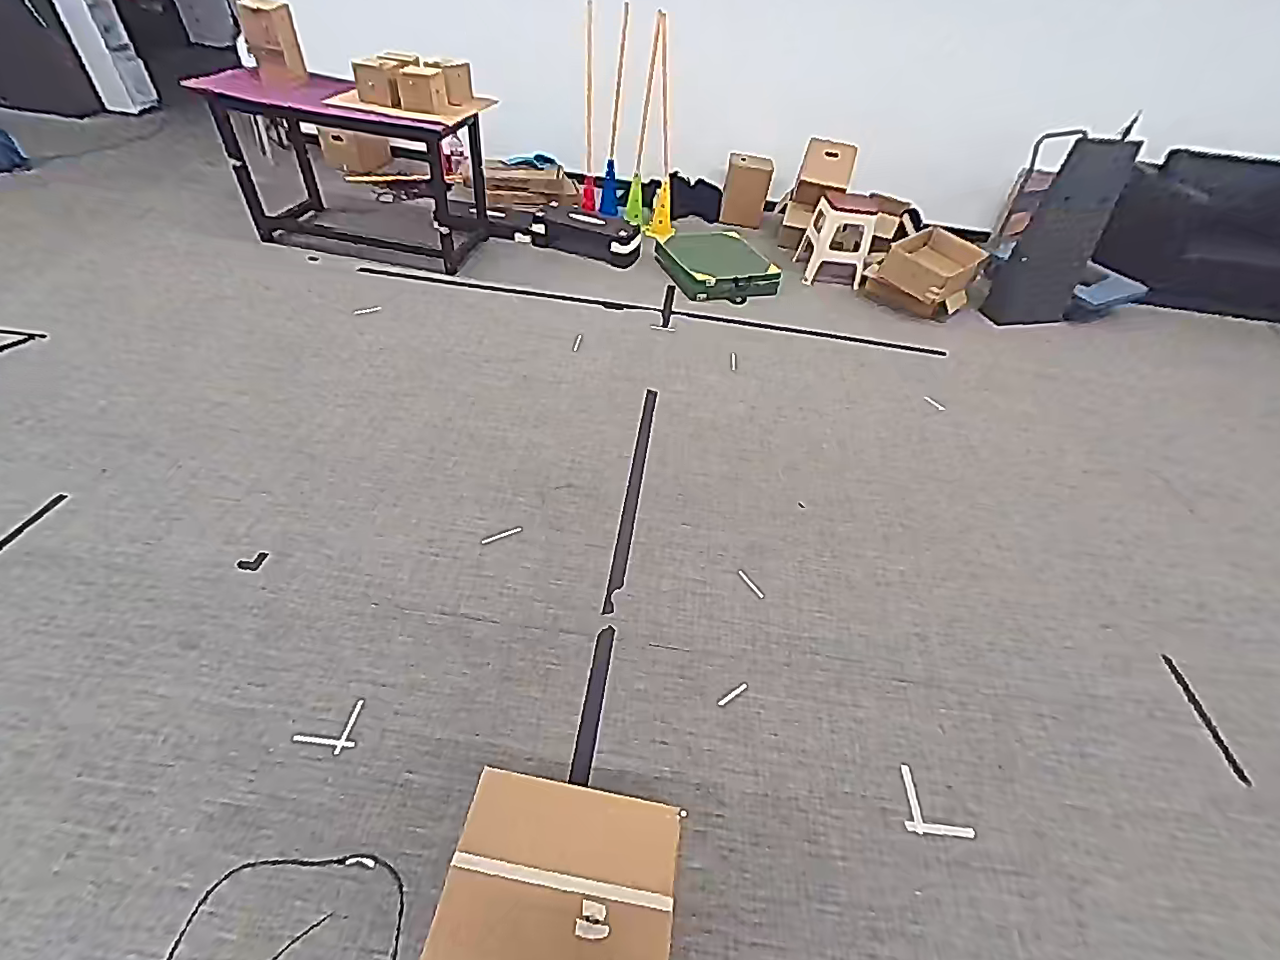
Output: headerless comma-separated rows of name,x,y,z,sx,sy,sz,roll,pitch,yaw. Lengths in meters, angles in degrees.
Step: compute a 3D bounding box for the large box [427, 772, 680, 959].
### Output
large box,-0.154,0.831,1.077,0.408,0.320,0.320,11,45,2
